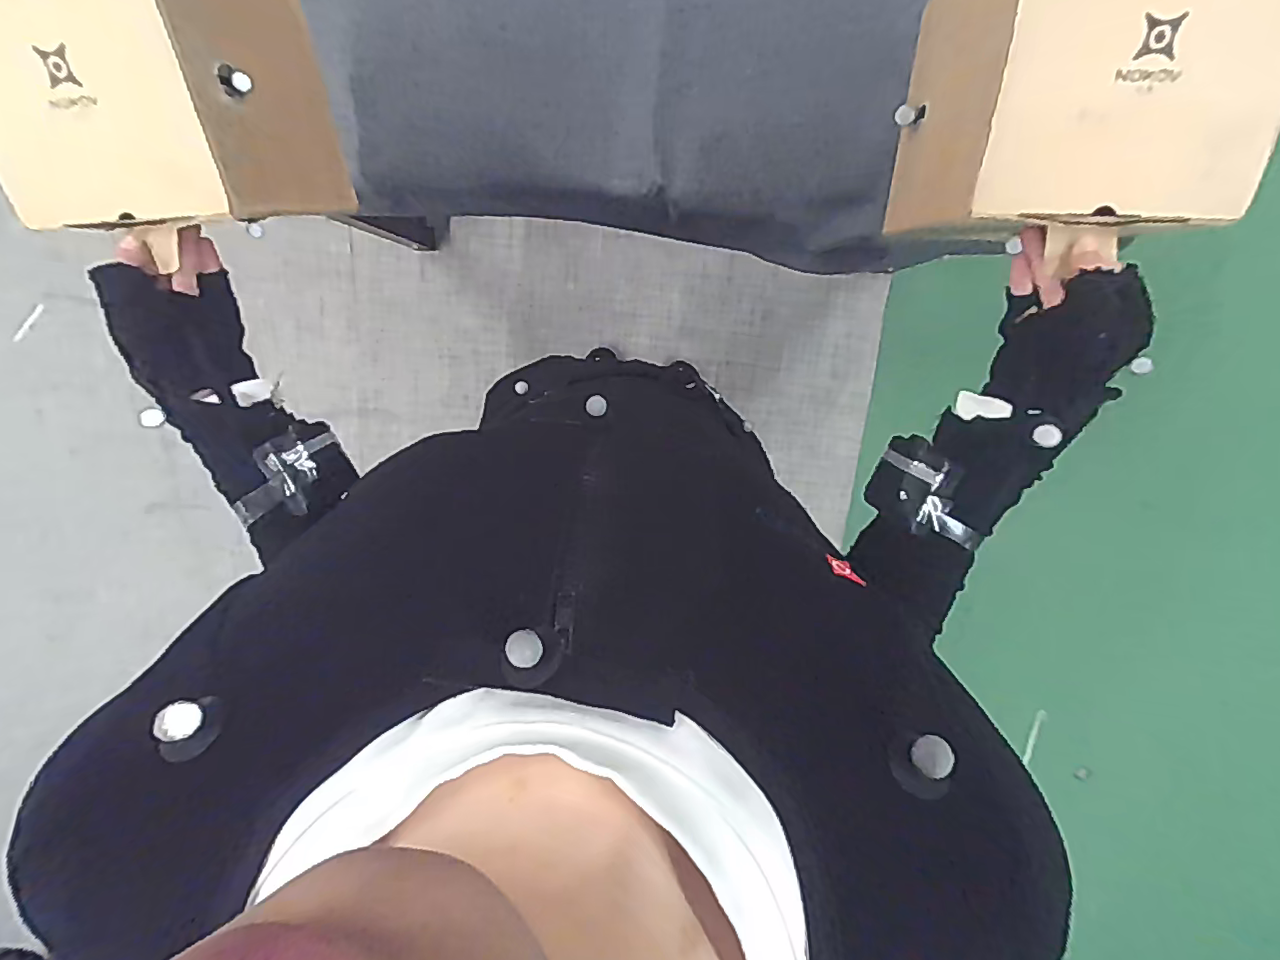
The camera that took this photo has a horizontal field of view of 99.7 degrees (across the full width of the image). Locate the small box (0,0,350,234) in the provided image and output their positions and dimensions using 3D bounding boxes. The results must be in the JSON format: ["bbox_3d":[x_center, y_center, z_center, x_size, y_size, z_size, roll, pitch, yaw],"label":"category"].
[{"bbox_3d":[-0.357,-0.292,0.410,0.168,0.176,0.179,-2,117,5],"label":"small box"}]

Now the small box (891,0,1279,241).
[{"bbox_3d":[0.302,-0.271,0.389,0.168,0.176,0.179,4,112,3],"label":"small box"}]
